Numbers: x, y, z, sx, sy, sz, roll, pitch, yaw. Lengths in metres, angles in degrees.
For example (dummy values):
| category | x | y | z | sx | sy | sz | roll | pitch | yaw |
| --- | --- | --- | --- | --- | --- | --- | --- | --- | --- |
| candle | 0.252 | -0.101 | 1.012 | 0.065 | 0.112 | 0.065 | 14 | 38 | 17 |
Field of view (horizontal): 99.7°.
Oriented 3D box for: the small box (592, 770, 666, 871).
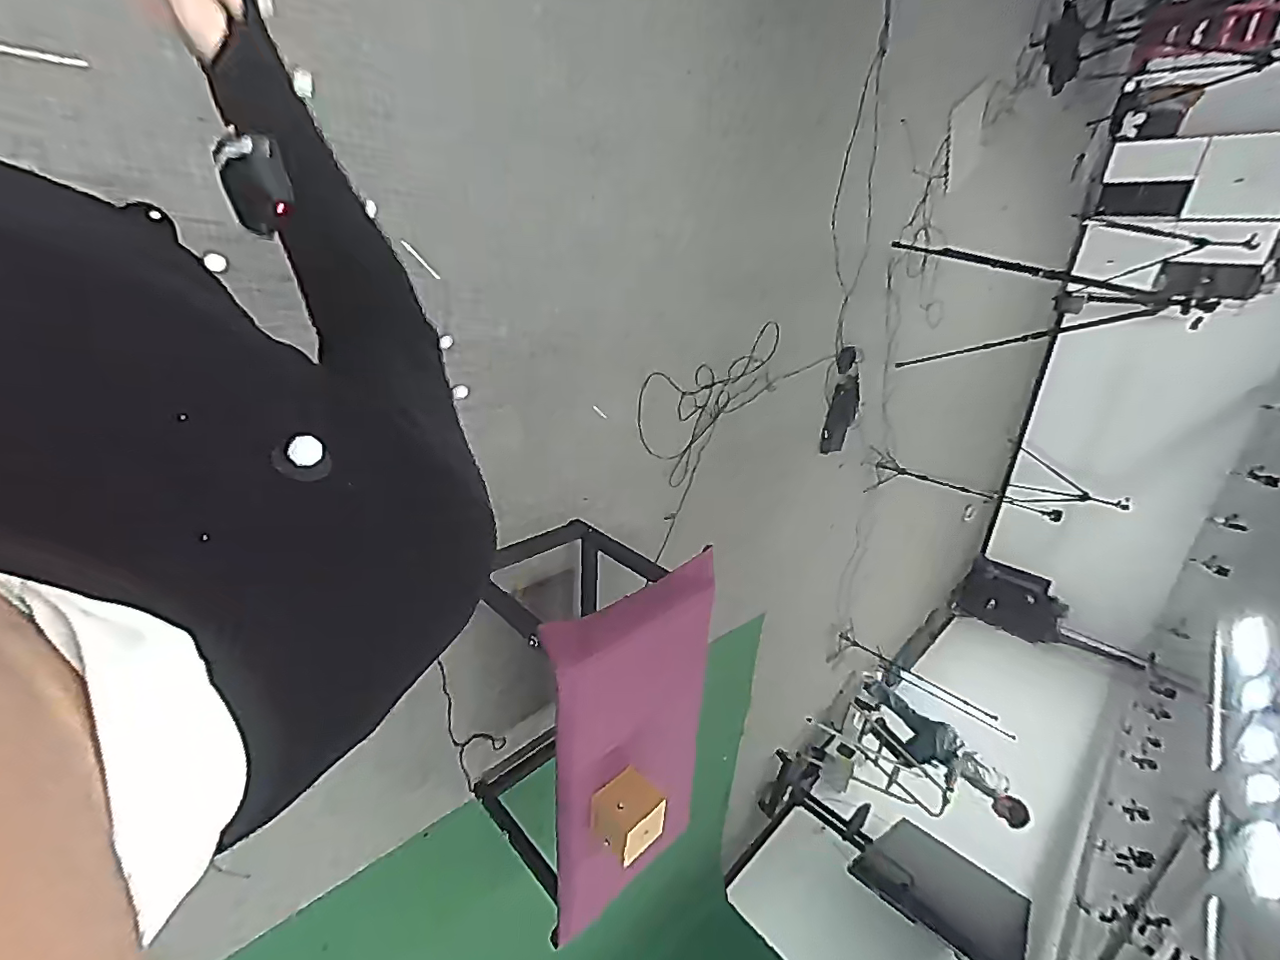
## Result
| category | x | y | z | sx | sy | sz | roll | pitch | yaw |
| --- | --- | --- | --- | --- | --- | --- | --- | --- | --- |
| small box | -0.039 | 1.087 | 1.741 | 0.179 | 0.176 | 0.168 | -16 | 120 | -43 |
